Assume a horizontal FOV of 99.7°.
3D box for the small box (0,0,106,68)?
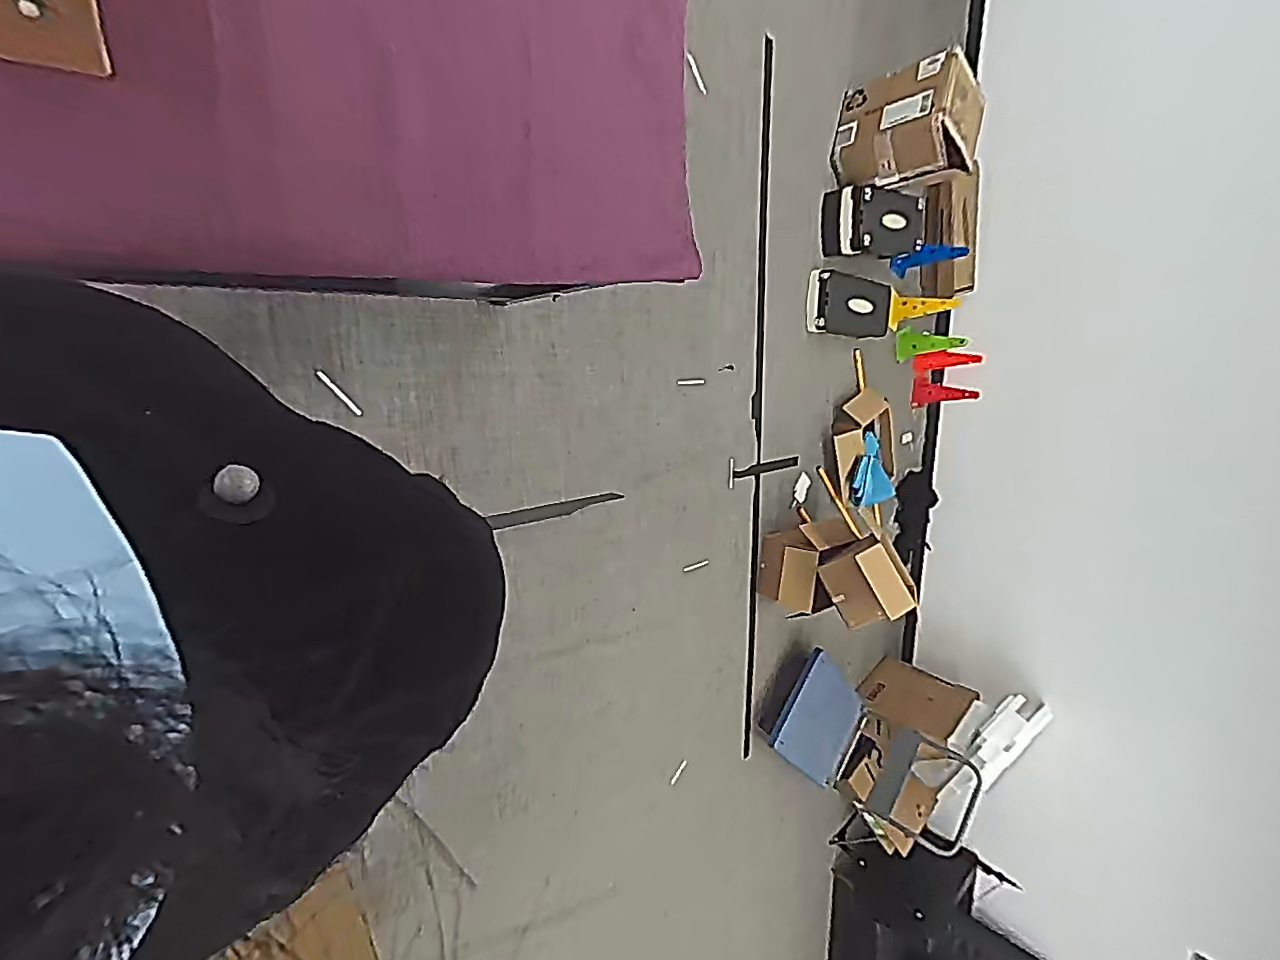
[{"bbox_3d":[-0.537,-0.444,0.397,0.179,0.176,0.168,-16,110,-40],"label":"small box"}]
